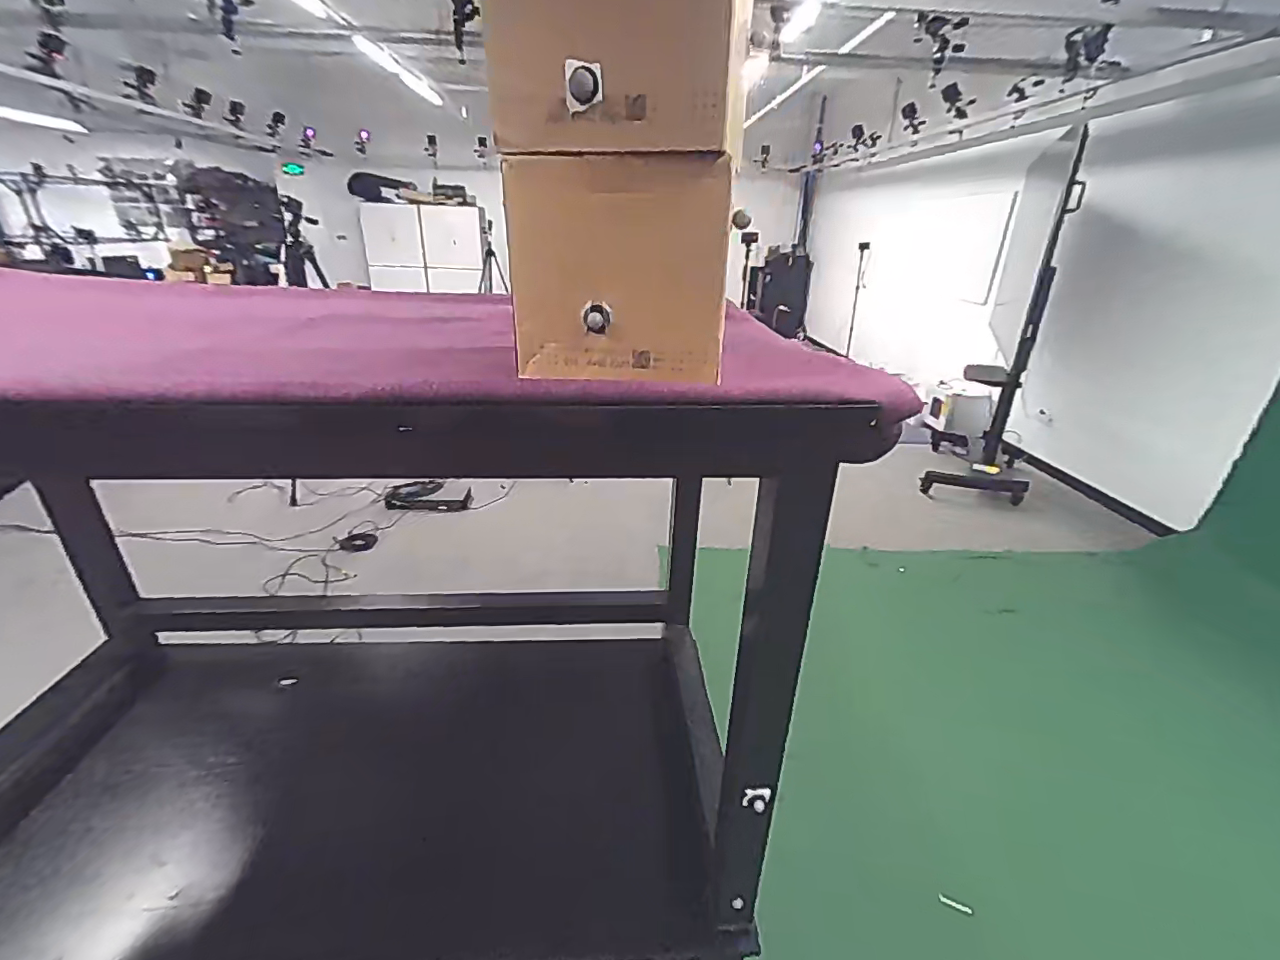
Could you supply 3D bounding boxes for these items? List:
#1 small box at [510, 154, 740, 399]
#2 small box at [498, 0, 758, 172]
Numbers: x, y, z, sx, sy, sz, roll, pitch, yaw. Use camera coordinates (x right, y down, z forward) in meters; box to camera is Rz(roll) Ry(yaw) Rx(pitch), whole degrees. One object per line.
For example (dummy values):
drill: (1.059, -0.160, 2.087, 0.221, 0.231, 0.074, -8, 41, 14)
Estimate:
small box: (-0.004, -0.180, 0.479, 0.168, 0.176, 0.179, 4, 26, 6)
small box: (-0.001, -0.323, 0.403, 0.168, 0.176, 0.179, 5, 27, 10)
